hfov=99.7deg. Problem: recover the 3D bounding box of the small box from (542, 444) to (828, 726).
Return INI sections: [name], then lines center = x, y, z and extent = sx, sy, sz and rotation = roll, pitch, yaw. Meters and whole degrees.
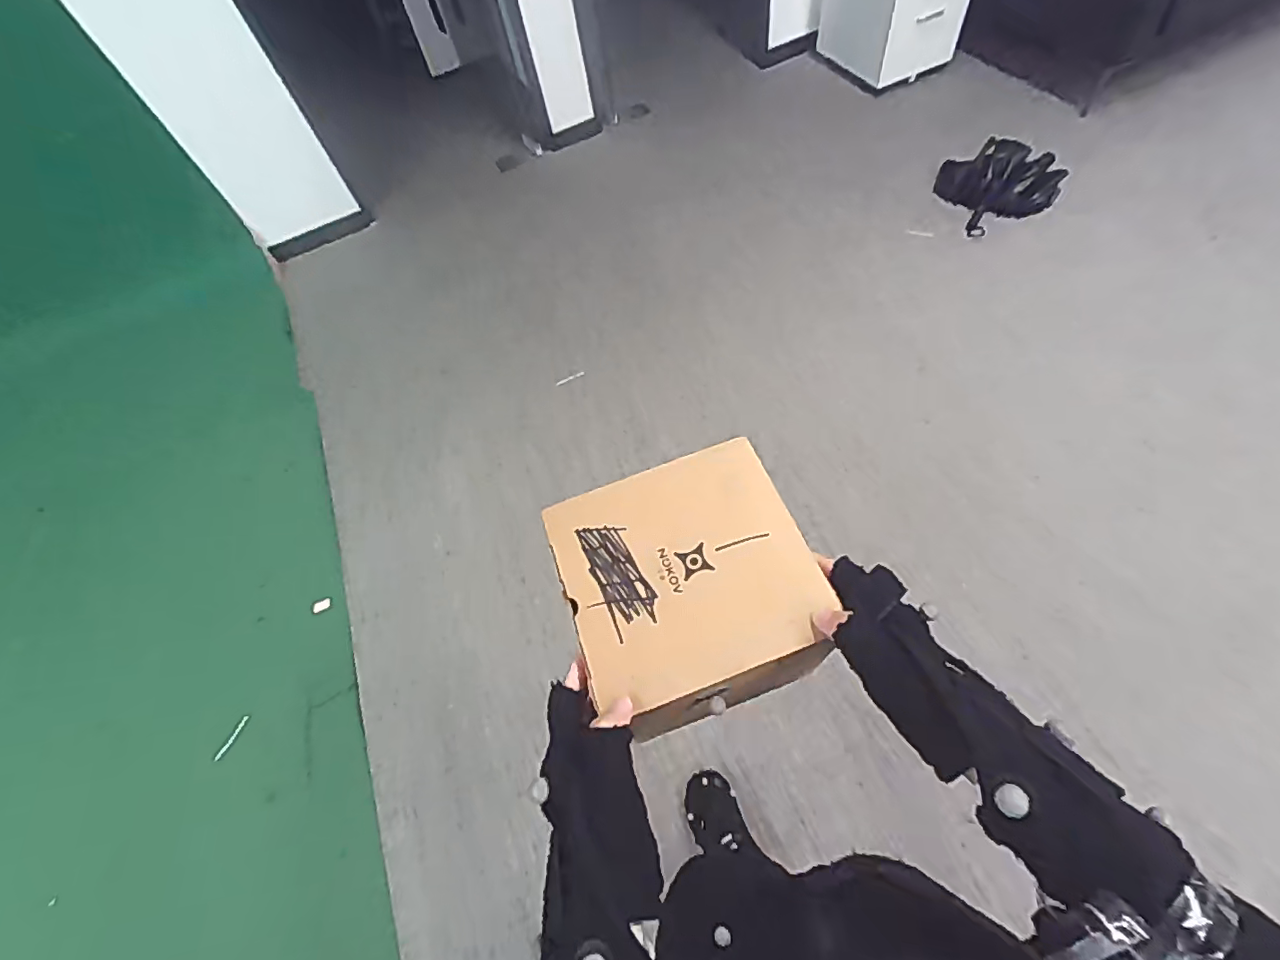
[small box]
center = 0.034, 0.102, 0.475
extent = 0.179, 0.176, 0.168
rotation = -19, 62, -5
